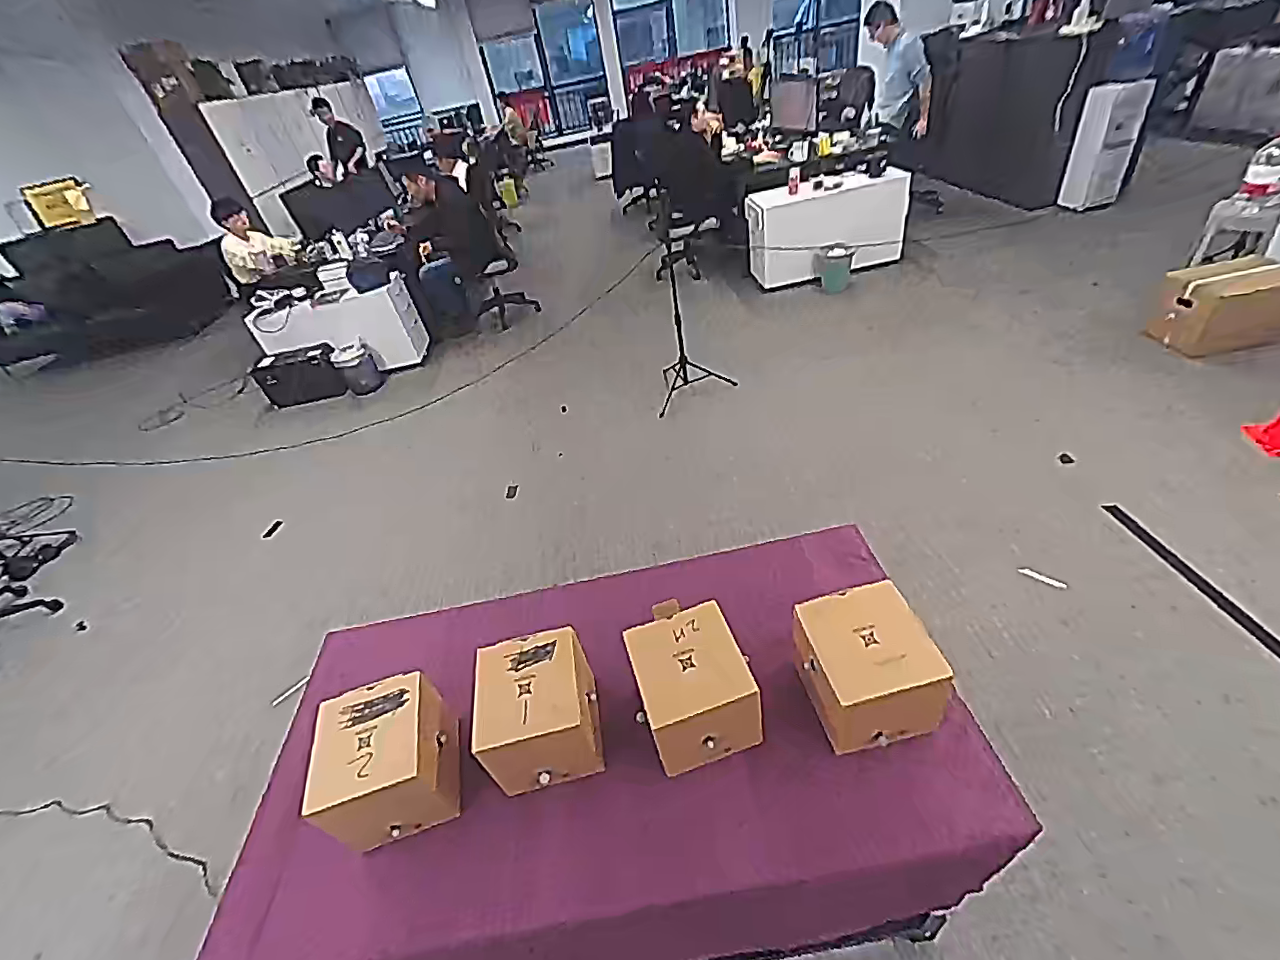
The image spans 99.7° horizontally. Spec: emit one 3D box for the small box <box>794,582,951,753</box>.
[{"bbox_3d":[0.354,0.297,0.862,0.168,0.176,0.179,-15,39,-1],"label":"small box"}]

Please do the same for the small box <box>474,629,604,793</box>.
[{"bbox_3d":[-0.163,0.384,0.902,0.168,0.176,0.179,-14,40,-2],"label":"small box"}]

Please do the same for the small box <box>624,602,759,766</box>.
[{"bbox_3d":[0.086,0.339,0.886,0.168,0.176,0.179,-17,39,-6],"label":"small box"}]
